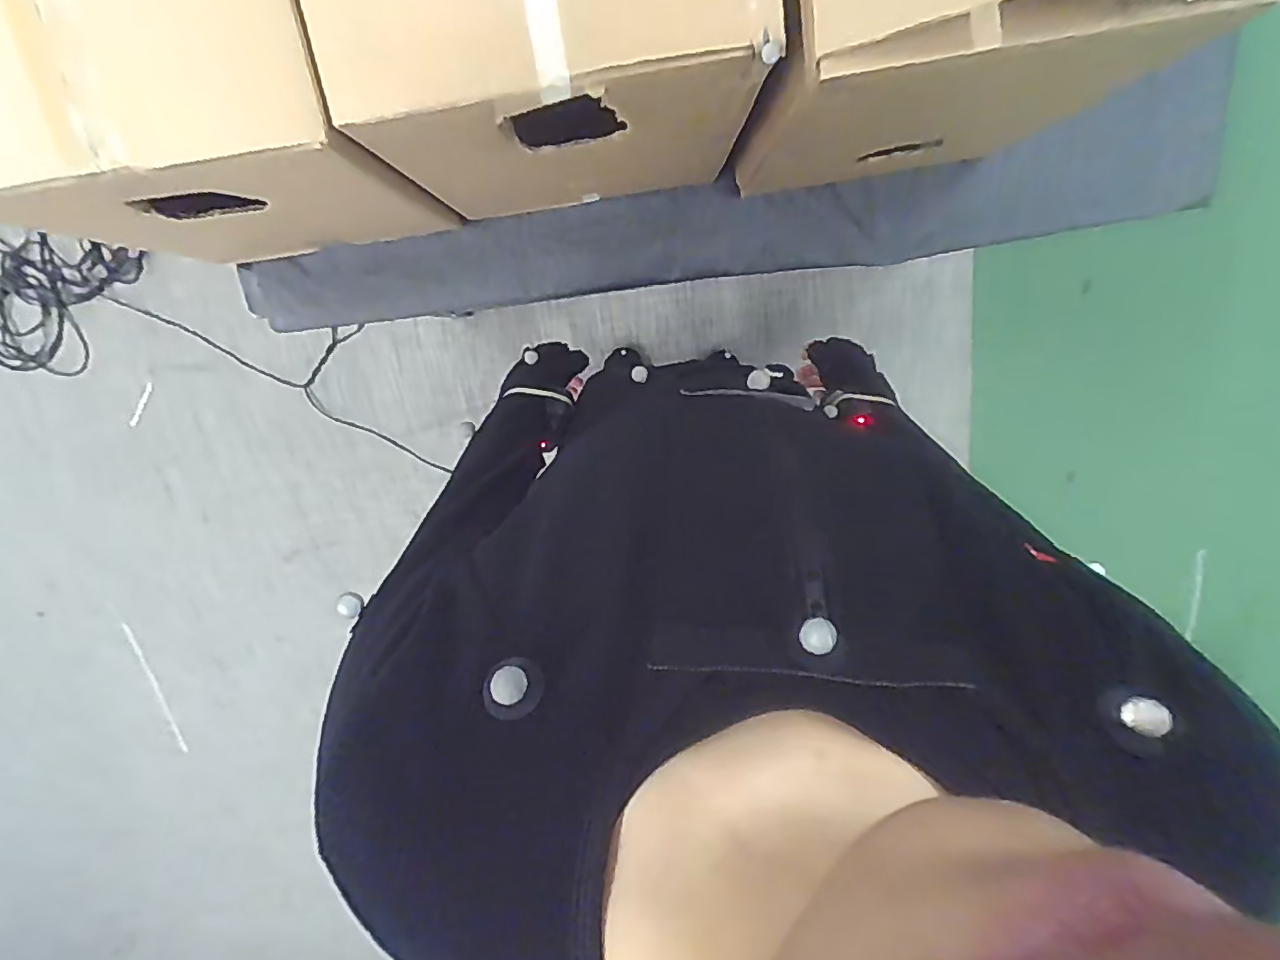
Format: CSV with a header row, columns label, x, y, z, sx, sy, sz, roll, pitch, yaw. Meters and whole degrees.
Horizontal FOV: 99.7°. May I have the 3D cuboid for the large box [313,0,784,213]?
label,x,y,z,sx,sy,sz,roll,pitch,yaw
large box,-0.087,-0.497,0.462,0.320,0.320,0.408,-9,105,3
